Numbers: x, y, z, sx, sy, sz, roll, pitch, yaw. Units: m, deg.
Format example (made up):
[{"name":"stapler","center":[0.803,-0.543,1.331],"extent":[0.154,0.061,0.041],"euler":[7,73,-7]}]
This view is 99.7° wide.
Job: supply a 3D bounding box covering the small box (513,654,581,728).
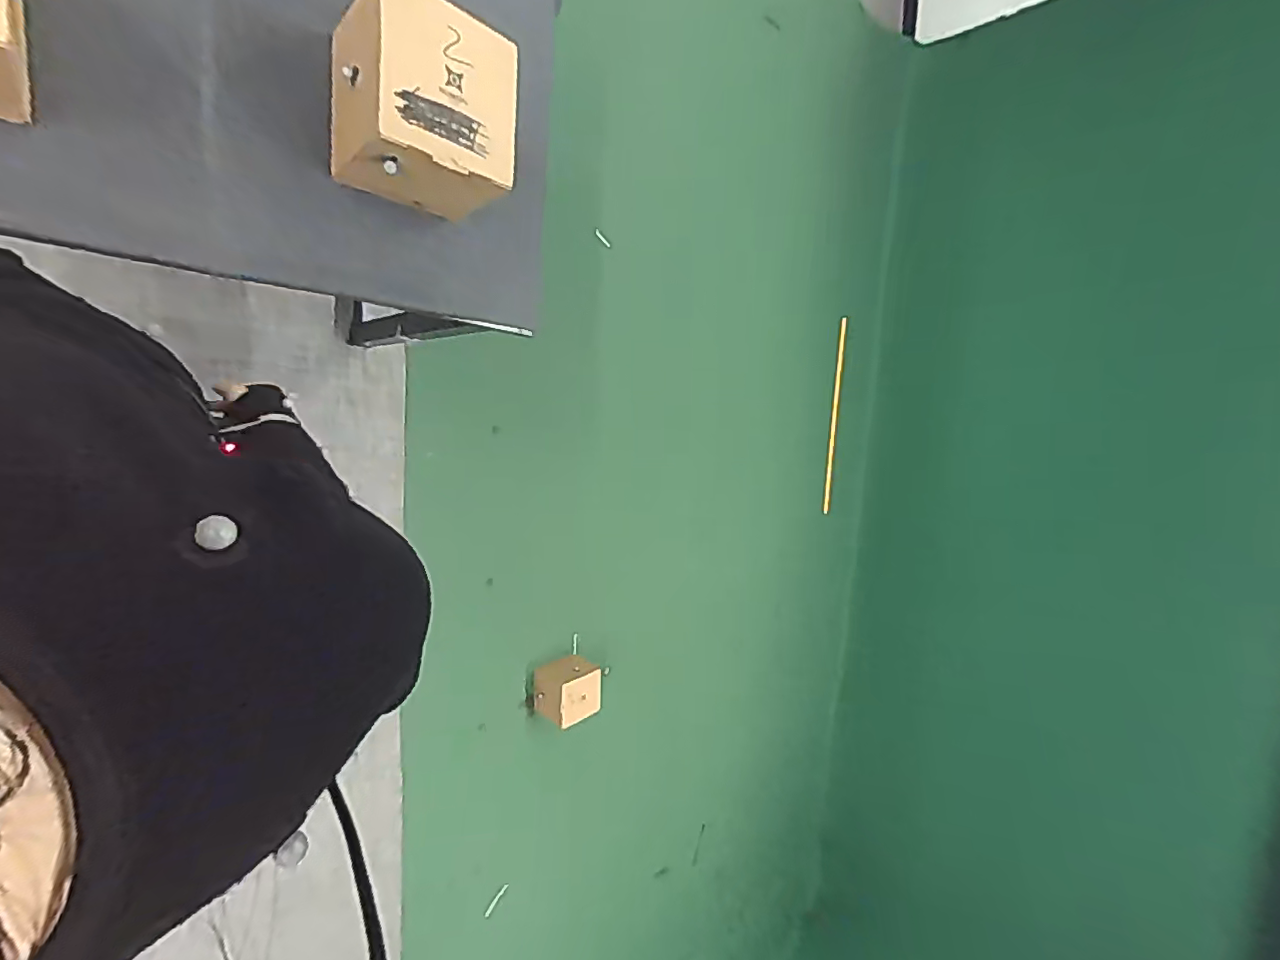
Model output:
[{"name":"small box","center":[-0.333,0.750,1.945],"extent":[0.179,0.176,0.168],"euler":[-6,102,-47]}]
